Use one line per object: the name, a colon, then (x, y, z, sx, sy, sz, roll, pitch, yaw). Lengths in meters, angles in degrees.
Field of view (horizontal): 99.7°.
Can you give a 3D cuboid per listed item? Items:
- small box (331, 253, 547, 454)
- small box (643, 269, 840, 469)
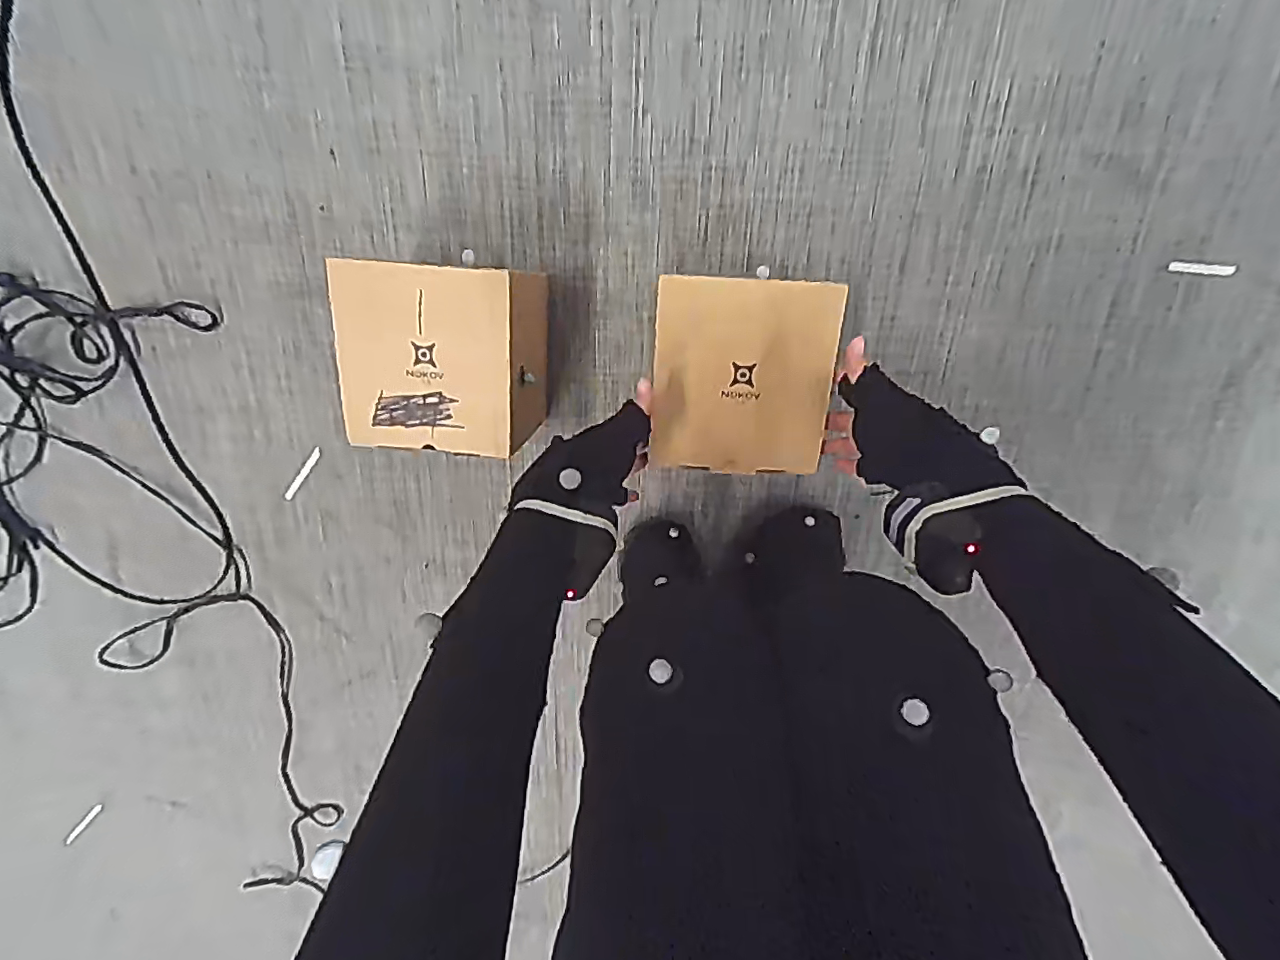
small box: (-0.199, -0.143, 0.586, 0.168, 0.176, 0.179, 5, 110, 1)
small box: (0.090, -0.123, 0.574, 0.168, 0.176, 0.179, 3, 110, -1)
